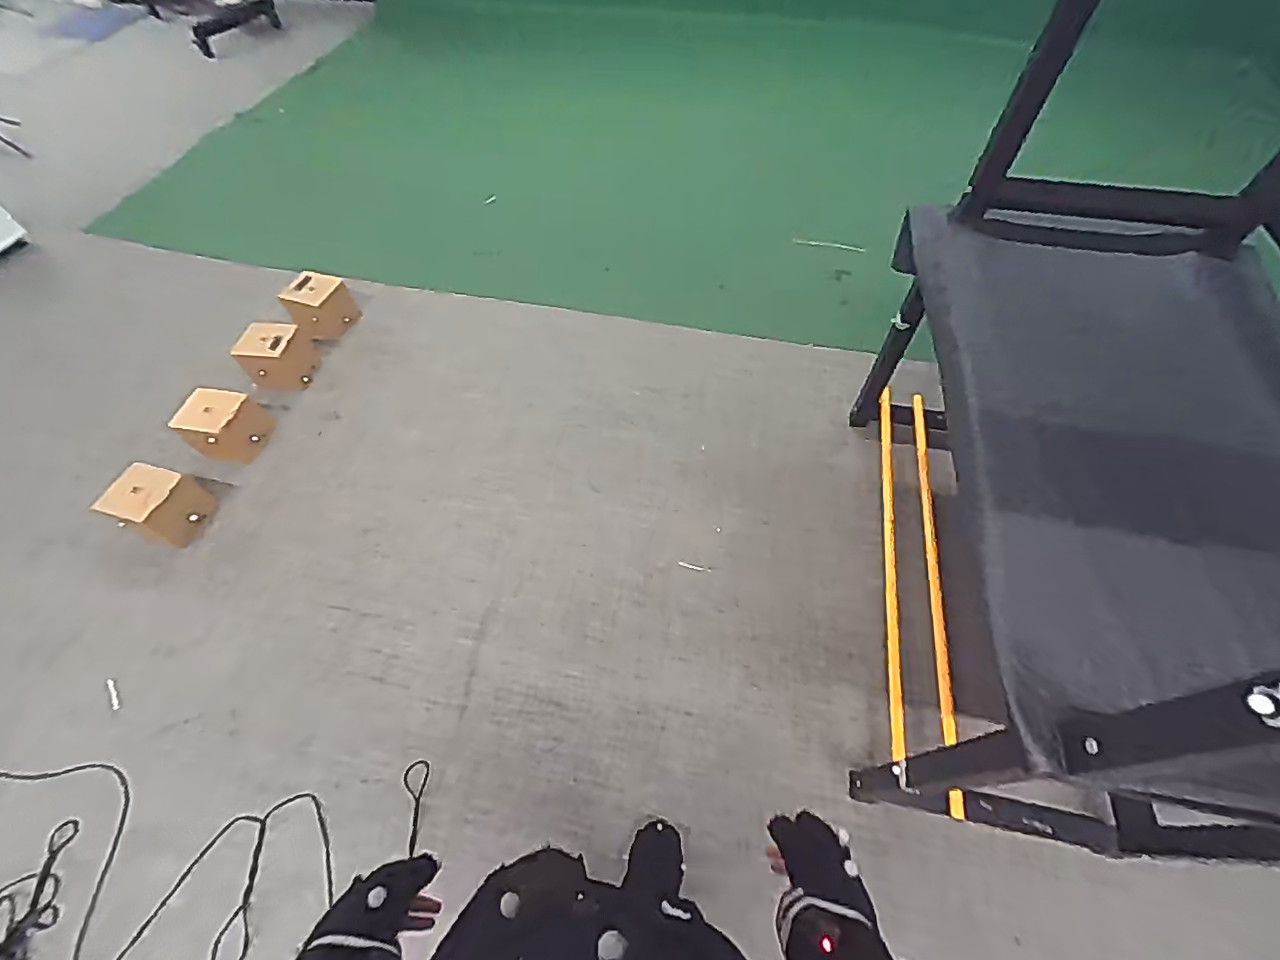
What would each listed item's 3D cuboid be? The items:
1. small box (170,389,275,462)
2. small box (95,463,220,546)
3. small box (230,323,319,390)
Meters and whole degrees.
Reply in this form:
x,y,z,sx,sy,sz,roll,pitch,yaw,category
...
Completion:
x,y,z,sx,sy,sz,roll,pitch,yaw,category
-1.348,-0.174,1.760,0.179,0.176,0.168,7,58,4,small box
-1.413,0.076,1.597,0.179,0.176,0.168,13,59,9,small box
-1.293,-0.436,1.931,0.179,0.176,0.168,3,56,3,small box
